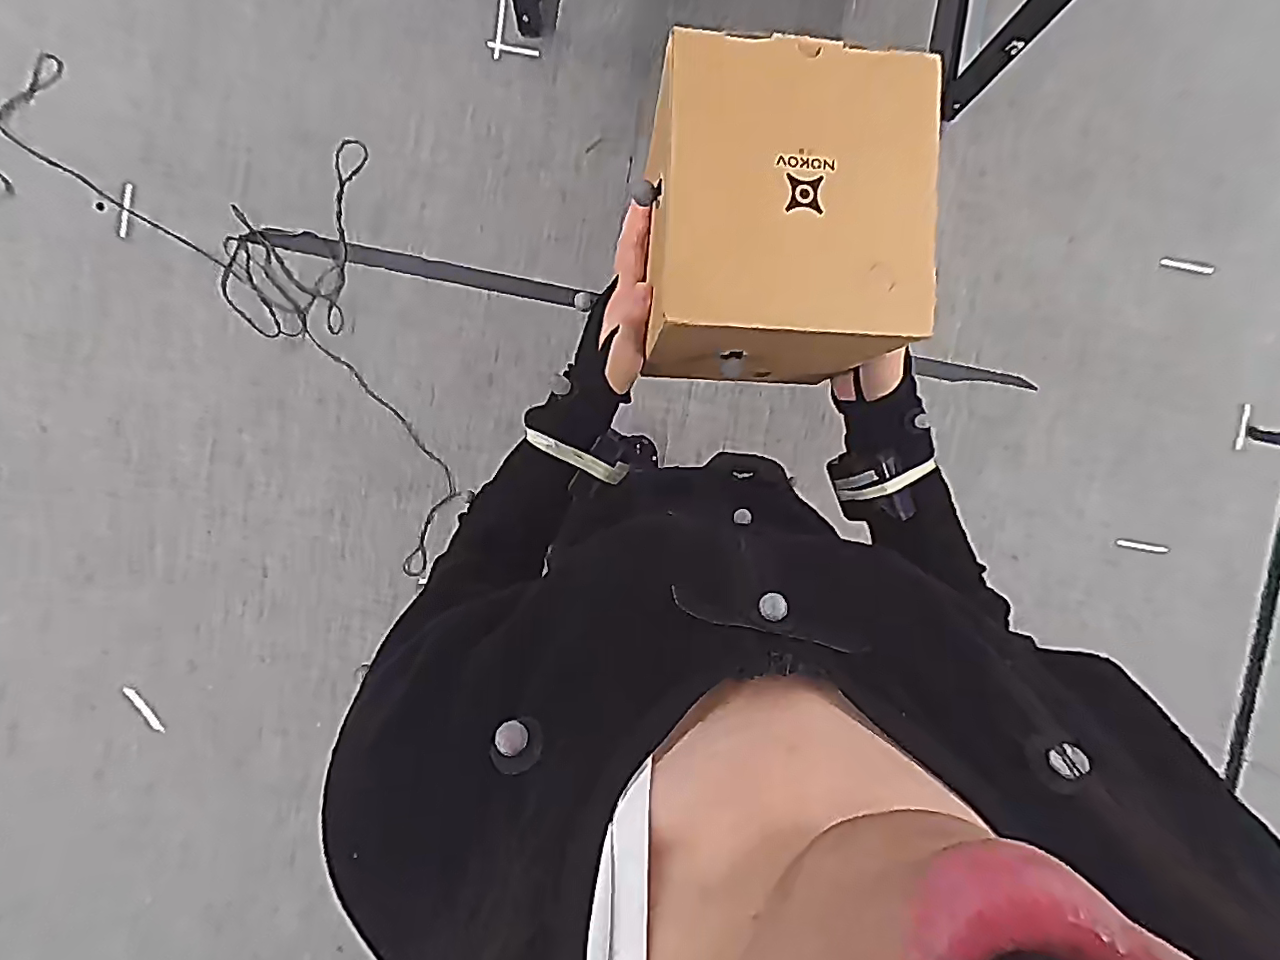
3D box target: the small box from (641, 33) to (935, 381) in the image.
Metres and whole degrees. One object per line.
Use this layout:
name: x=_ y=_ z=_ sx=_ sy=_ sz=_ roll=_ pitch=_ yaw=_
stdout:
small box: x=0.091 y=-0.176 z=0.407 sx=0.168 sy=0.176 sz=0.179 roll=2 pitch=89 yaw=-5

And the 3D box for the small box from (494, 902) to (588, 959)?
small box: x=-0.188 y=0.927 z=0.997 sx=0.168 sy=0.176 sz=0.179 roll=5 pitch=94 yaw=-2

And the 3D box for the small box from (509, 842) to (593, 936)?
small box: x=-0.191 y=0.924 z=1.159 sx=0.168 sy=0.176 sz=0.179 roll=6 pitch=92 yaw=-3
